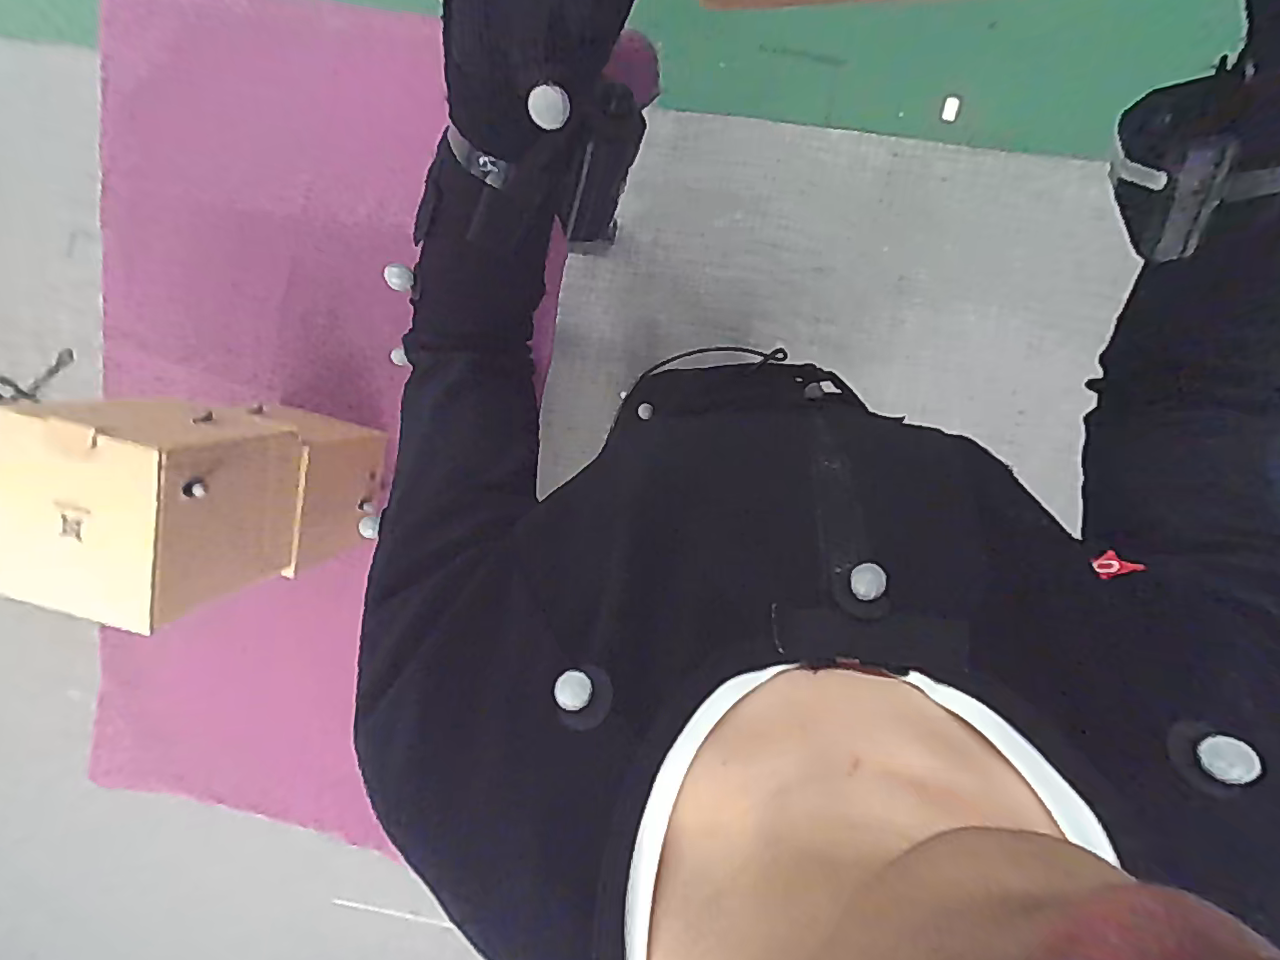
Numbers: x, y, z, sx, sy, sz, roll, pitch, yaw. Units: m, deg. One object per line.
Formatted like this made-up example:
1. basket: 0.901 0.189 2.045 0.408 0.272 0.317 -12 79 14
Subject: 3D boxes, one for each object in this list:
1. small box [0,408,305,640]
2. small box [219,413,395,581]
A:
1. small box: -0.478 0.030 0.553 0.168 0.176 0.179 13 101 4
2. small box: -0.459 0.010 0.713 0.179 0.176 0.168 15 101 3
